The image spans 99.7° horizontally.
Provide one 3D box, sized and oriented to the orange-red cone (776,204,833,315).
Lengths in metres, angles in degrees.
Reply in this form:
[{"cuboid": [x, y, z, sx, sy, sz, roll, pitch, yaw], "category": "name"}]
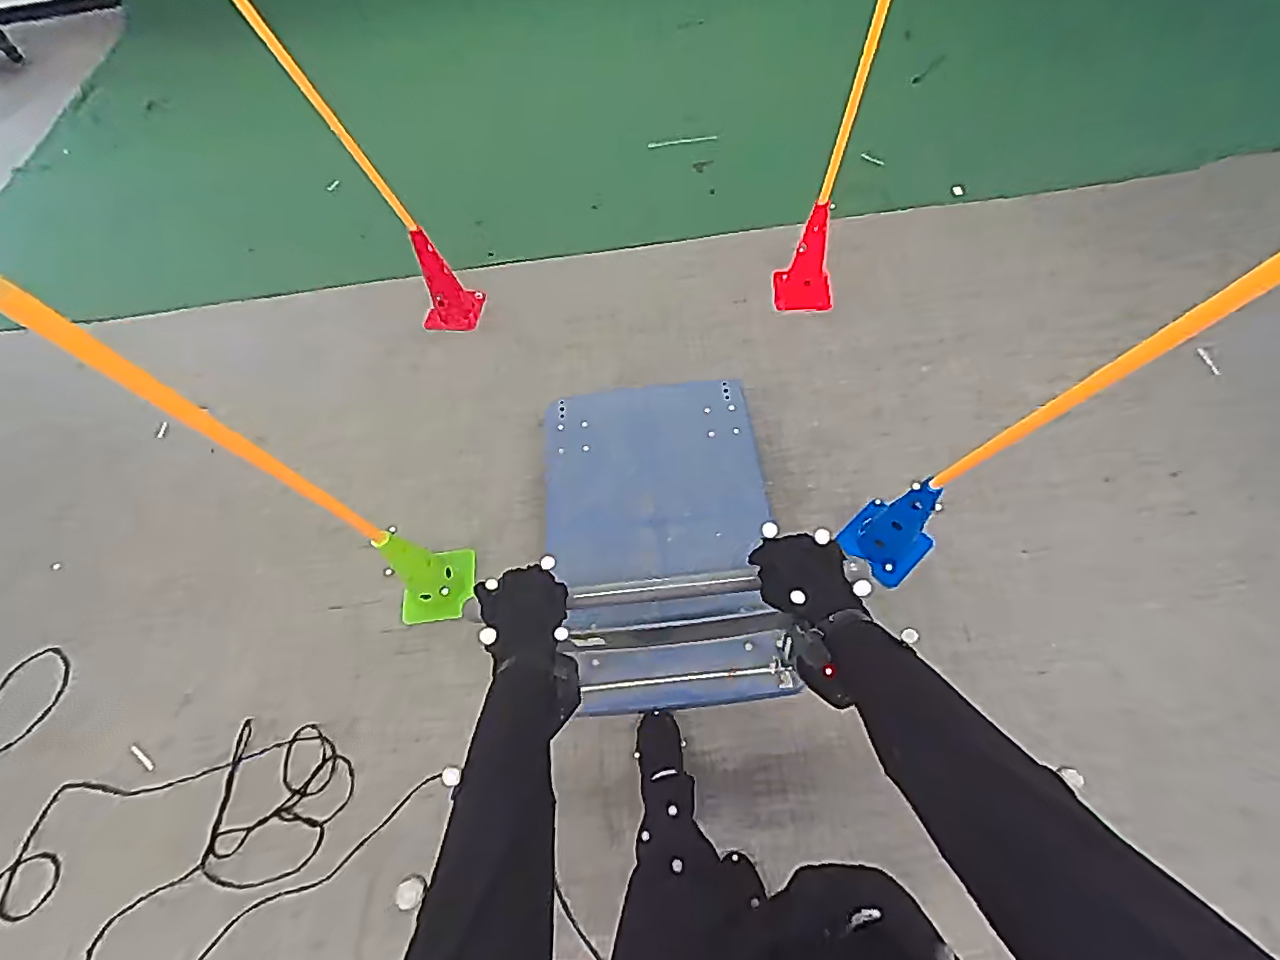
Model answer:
[{"cuboid": [0.577, -0.750, 1.807, 0.198, 0.360, 0.199, 3, 63, 8], "category": "orange-red cone"}]
